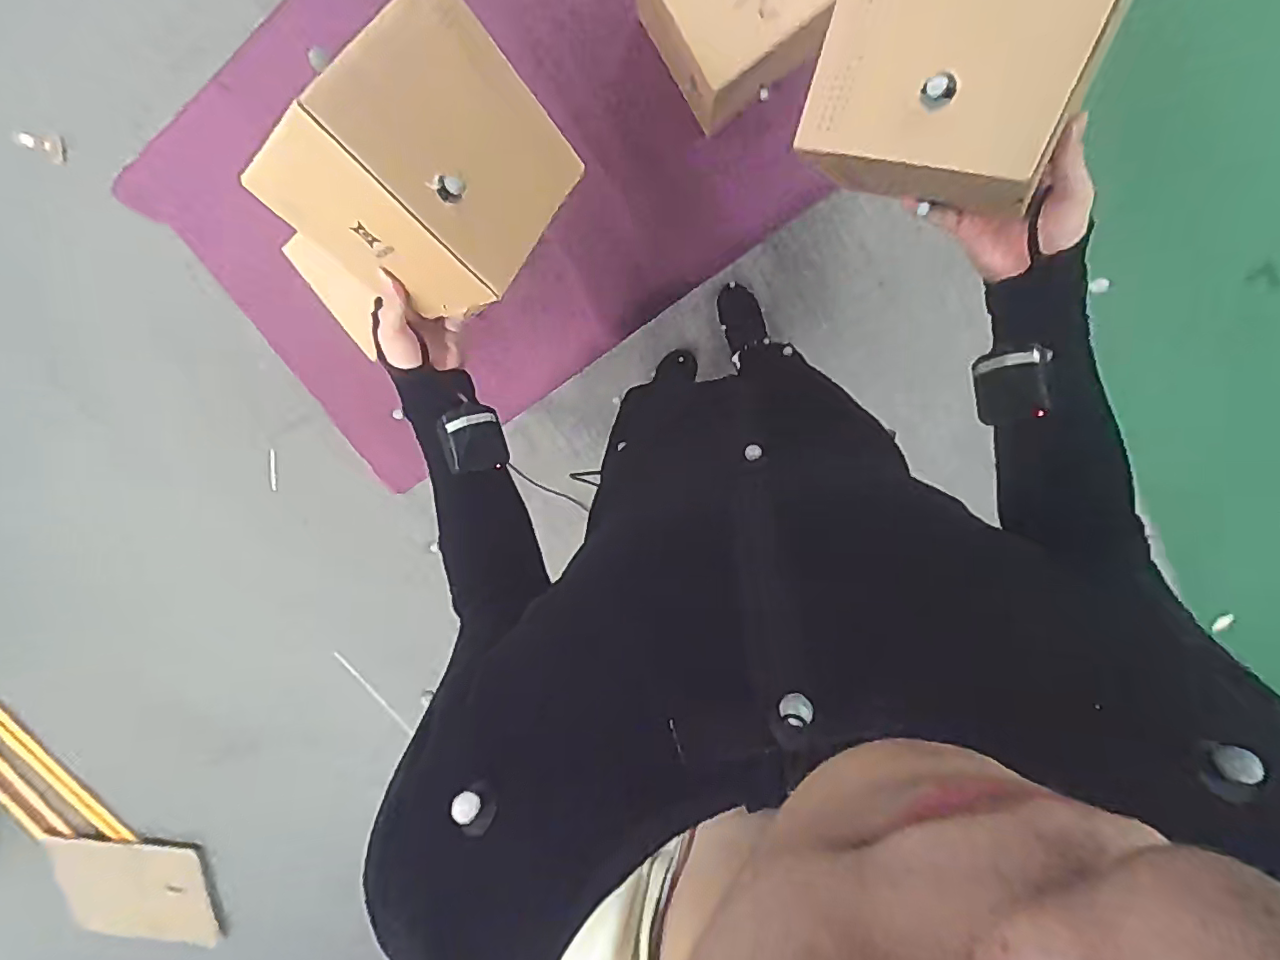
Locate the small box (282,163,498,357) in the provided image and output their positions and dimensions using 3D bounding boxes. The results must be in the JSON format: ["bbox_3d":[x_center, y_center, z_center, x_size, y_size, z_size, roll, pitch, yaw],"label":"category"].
[{"bbox_3d":[-0.333,-0.294,0.757,0.168,0.176,0.179,-33,102,14],"label":"small box"}]
